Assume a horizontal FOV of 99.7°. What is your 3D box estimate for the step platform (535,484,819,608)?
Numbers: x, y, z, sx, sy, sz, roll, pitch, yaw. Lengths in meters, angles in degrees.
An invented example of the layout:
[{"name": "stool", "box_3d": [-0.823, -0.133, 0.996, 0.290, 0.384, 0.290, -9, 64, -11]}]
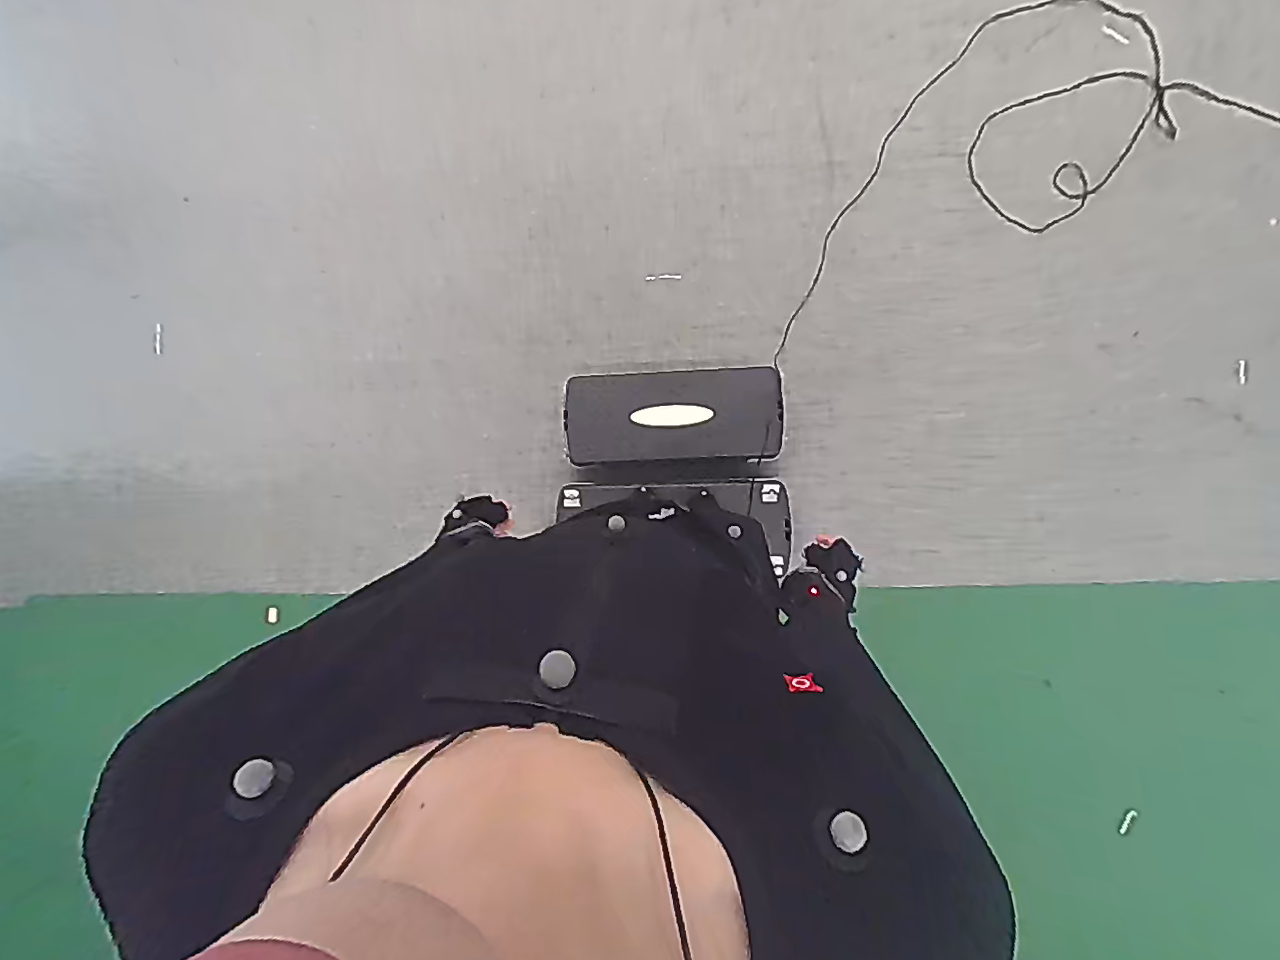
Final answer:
[{"name": "step platform", "box_3d": [0.088, 0.165, 1.390, 0.684, 0.204, 0.286, -2, 87, 3]}]
